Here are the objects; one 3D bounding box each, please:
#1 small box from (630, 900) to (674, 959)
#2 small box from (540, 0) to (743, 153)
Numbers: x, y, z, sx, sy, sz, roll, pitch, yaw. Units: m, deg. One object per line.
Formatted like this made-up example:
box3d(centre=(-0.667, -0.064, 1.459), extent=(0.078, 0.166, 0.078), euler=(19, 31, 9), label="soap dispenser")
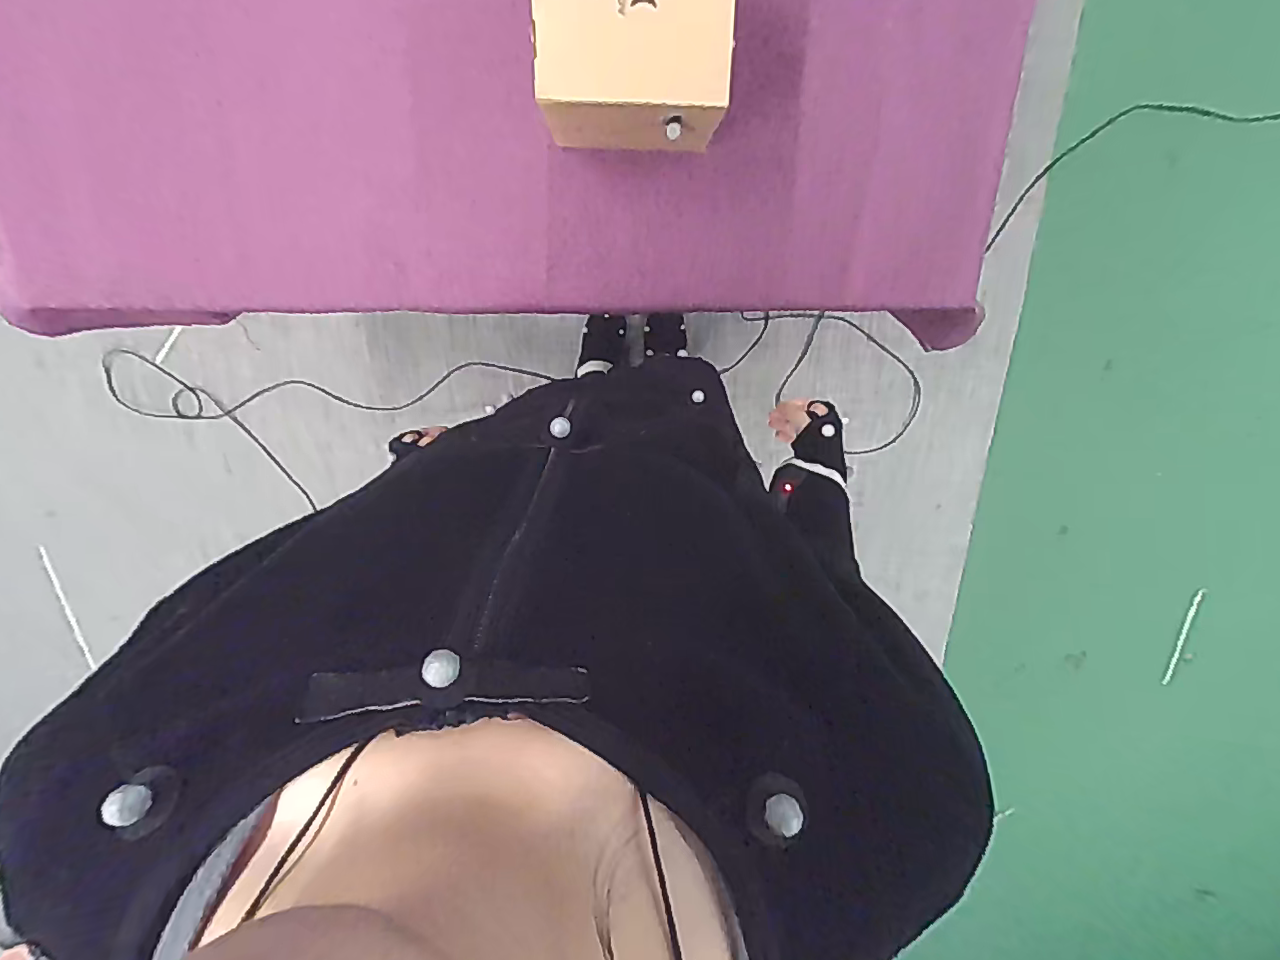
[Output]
box3d(centre=(0.043, 1.784, 2.105), extent=(0.168, 0.176, 0.179), euler=(0, 109, -1), label="small box")
box3d(centre=(0.000, -0.437, 0.534), extent=(0.179, 0.176, 0.168), euler=(1, 109, -1), label="small box")
